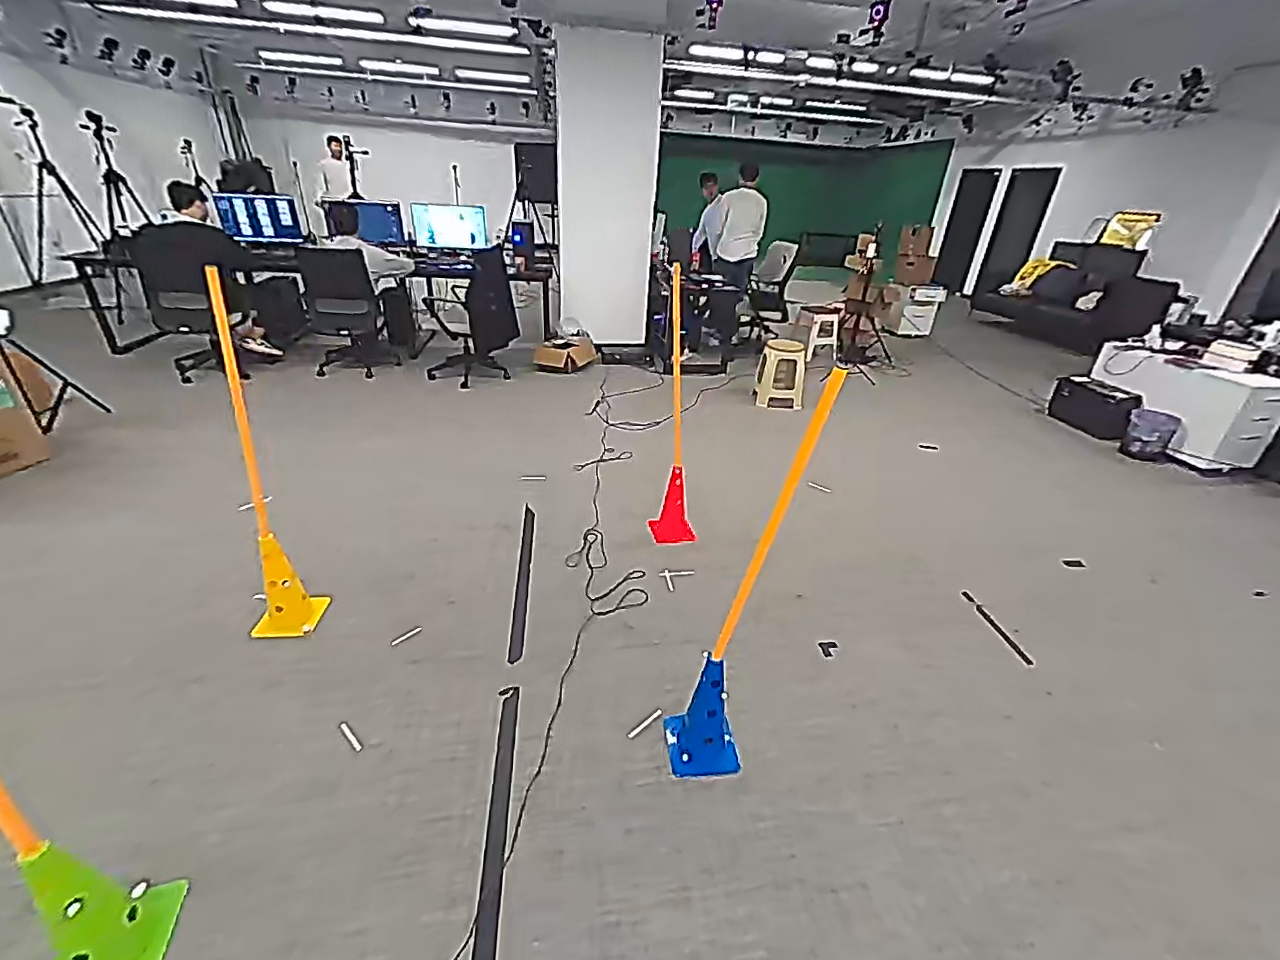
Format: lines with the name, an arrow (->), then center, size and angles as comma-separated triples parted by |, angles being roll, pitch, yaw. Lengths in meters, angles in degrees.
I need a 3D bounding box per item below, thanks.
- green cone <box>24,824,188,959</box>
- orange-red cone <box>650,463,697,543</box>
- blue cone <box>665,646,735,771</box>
green cone -> -1.077, 0.797, 1.042 | 0.200, 0.368, 0.202 | -6, 28, -17
orange-red cone -> 0.165, 0.090, 2.499 | 0.199, 0.360, 0.198 | -4, 29, -12
blue cone -> 0.187, 0.628, 1.528 | 0.193, 0.380, 0.192 | 1, 28, -5
